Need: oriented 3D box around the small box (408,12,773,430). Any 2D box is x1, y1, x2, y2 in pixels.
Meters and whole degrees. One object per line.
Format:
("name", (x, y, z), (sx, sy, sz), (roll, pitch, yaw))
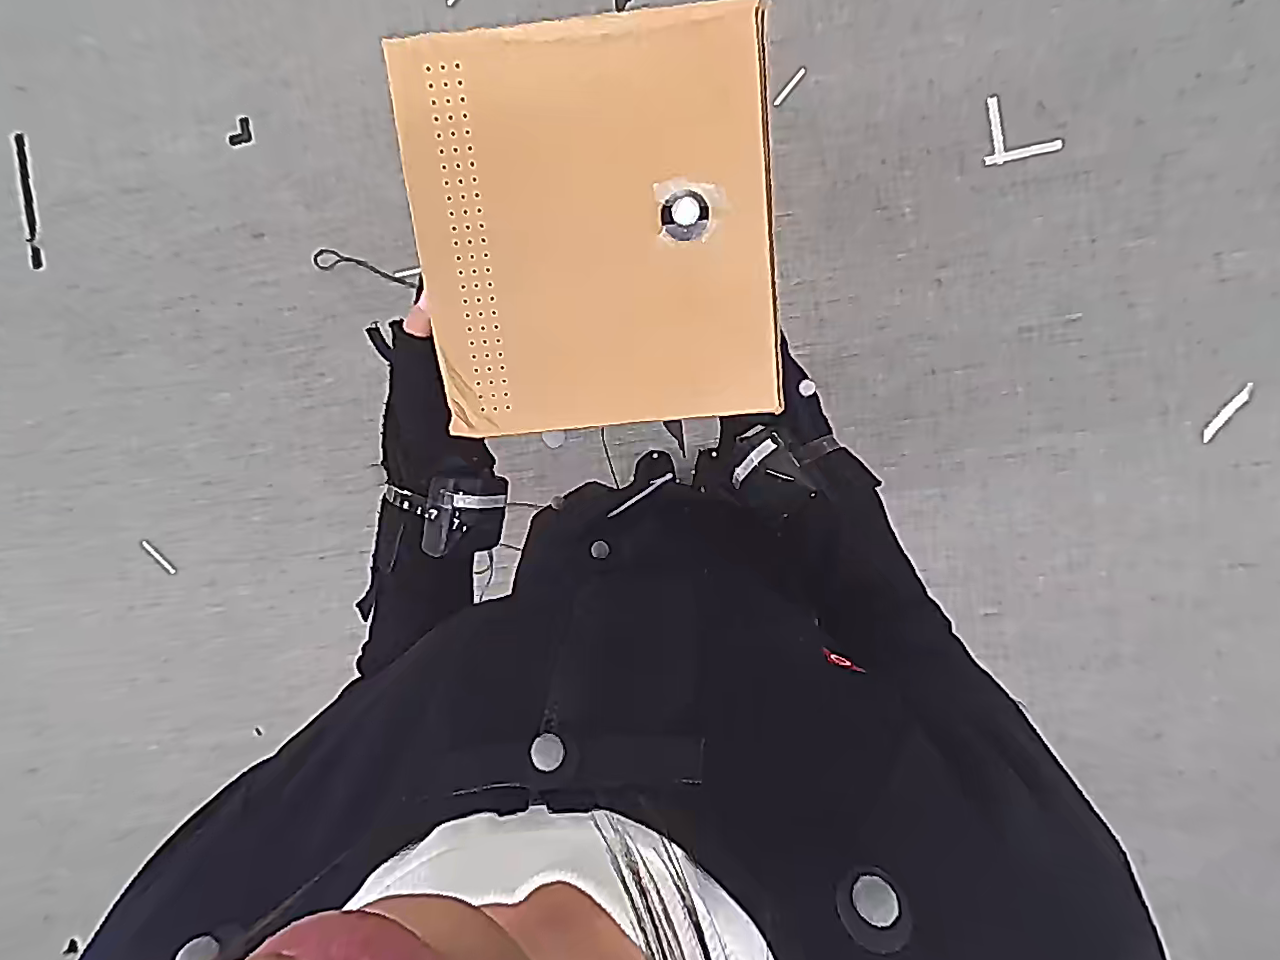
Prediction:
("small box", (-0.023, -0.134, 0.337), (0.176, 0.168, 0.179), (-5, 102, 3))
